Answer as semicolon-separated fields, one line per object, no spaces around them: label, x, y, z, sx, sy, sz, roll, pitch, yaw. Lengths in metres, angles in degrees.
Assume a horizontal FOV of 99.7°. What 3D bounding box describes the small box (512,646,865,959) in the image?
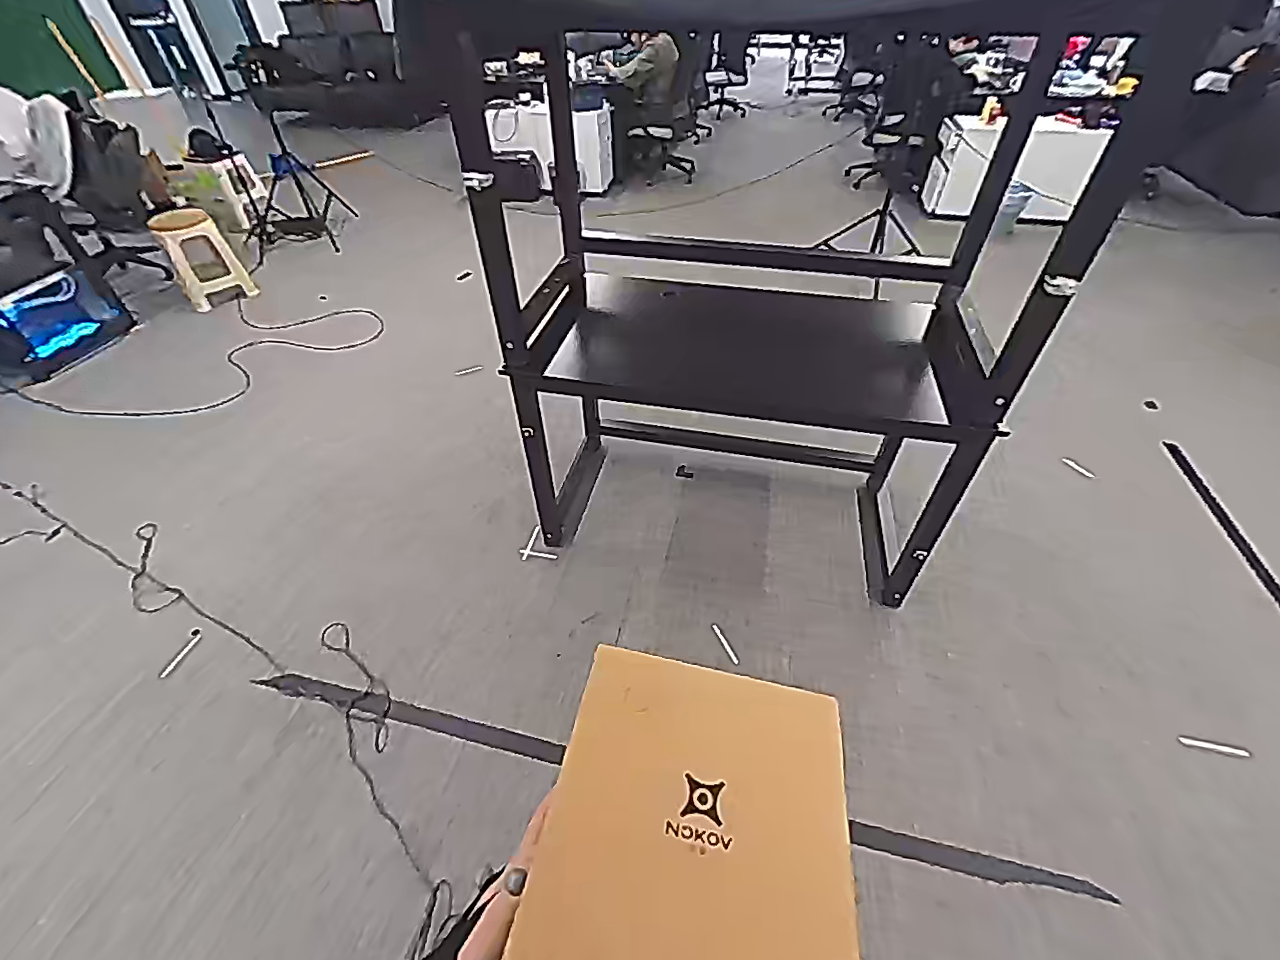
small box;0.028;0.244;0.350;0.168;0.176;0.179;11;40;5
